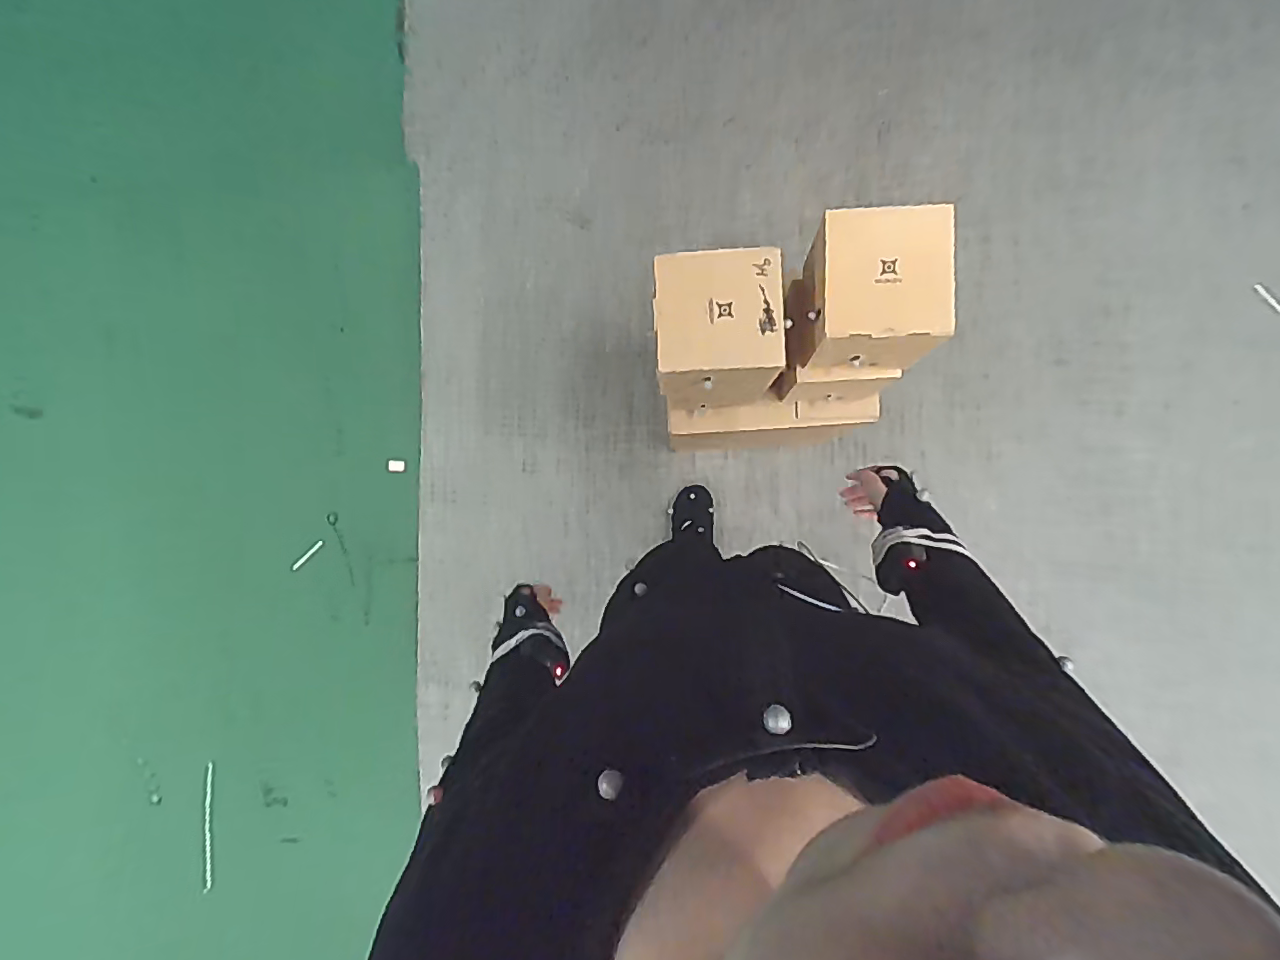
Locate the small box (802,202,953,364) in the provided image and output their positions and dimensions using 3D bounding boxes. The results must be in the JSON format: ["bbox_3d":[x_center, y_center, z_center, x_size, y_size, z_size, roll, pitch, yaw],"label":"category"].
[{"bbox_3d":[0.338,-0.280,0.799,0.168,0.176,0.179,1,88,6],"label":"small box"}]
